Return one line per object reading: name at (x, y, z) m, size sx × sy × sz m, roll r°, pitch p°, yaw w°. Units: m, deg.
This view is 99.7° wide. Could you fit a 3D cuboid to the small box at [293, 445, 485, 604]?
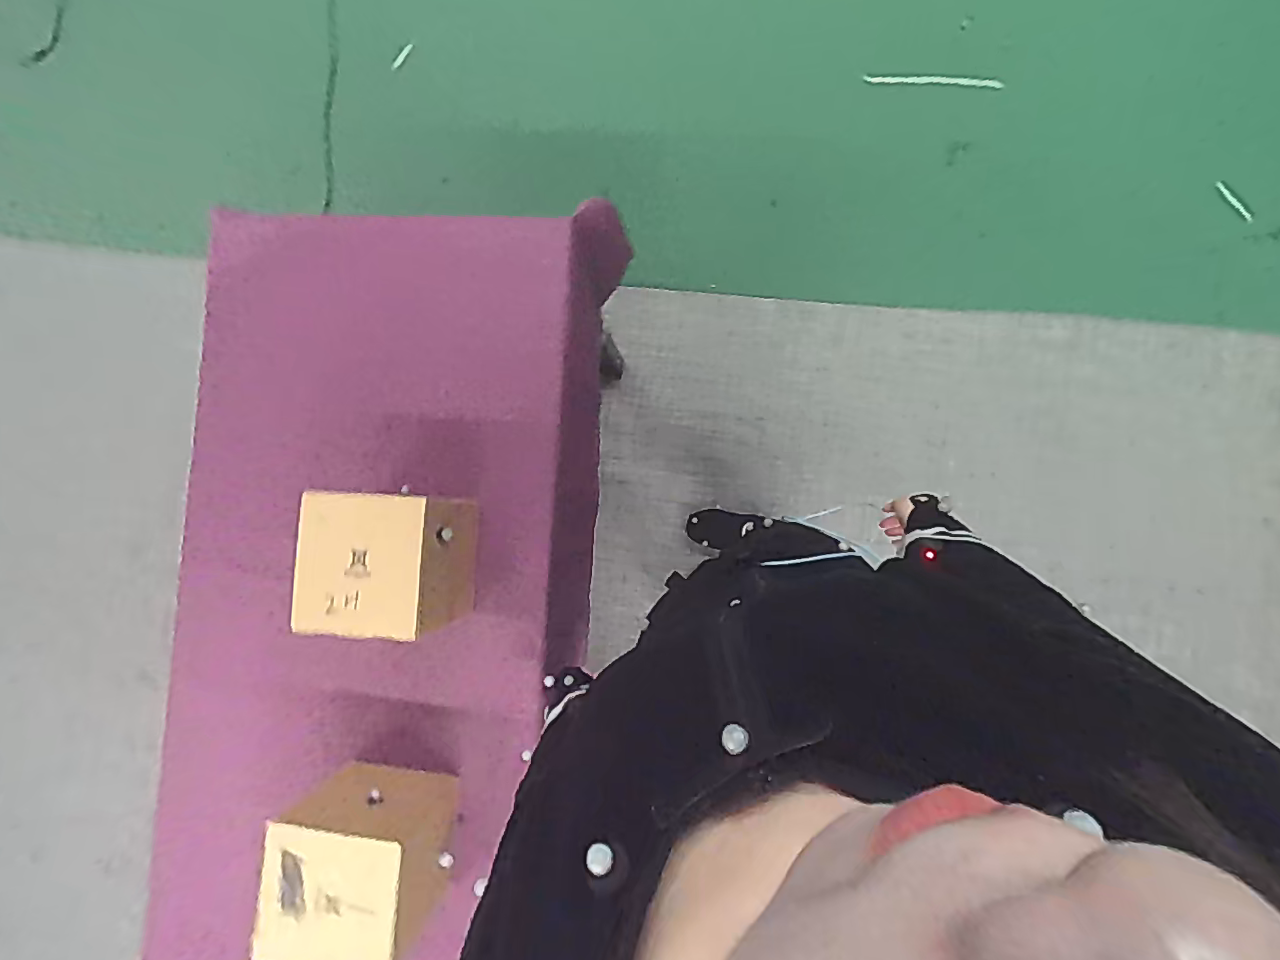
small box at (-0.331, 0.057, 0.748) m, size 0.168 × 0.176 × 0.179 m, roll 9°, pitch 88°, yaw 7°
